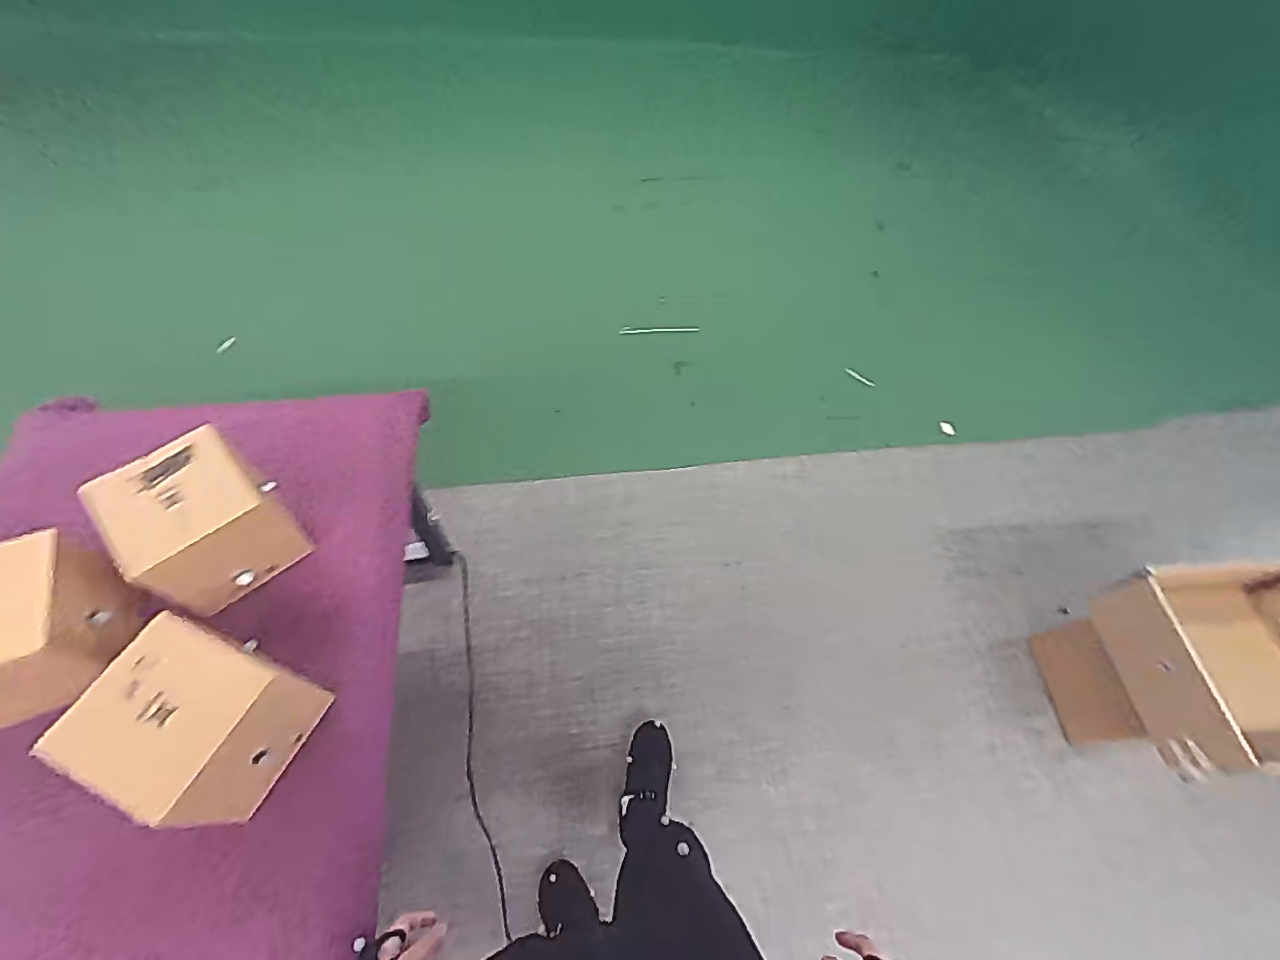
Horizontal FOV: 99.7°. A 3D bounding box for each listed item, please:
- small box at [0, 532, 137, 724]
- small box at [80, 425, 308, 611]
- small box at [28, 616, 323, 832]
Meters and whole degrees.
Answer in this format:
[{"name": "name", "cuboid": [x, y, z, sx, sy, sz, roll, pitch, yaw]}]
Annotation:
[{"name": "small box", "cuboid": [-0.800, 0.195, 0.697, 0.179, 0.176, 0.168, -19, 64, -16]}, {"name": "small box", "cuboid": [-0.632, 0.061, 0.788, 0.168, 0.176, 0.179, -38, 71, -23]}, {"name": "small box", "cuboid": [-0.535, 0.294, 0.658, 0.179, 0.176, 0.168, 23, 60, 9]}]
